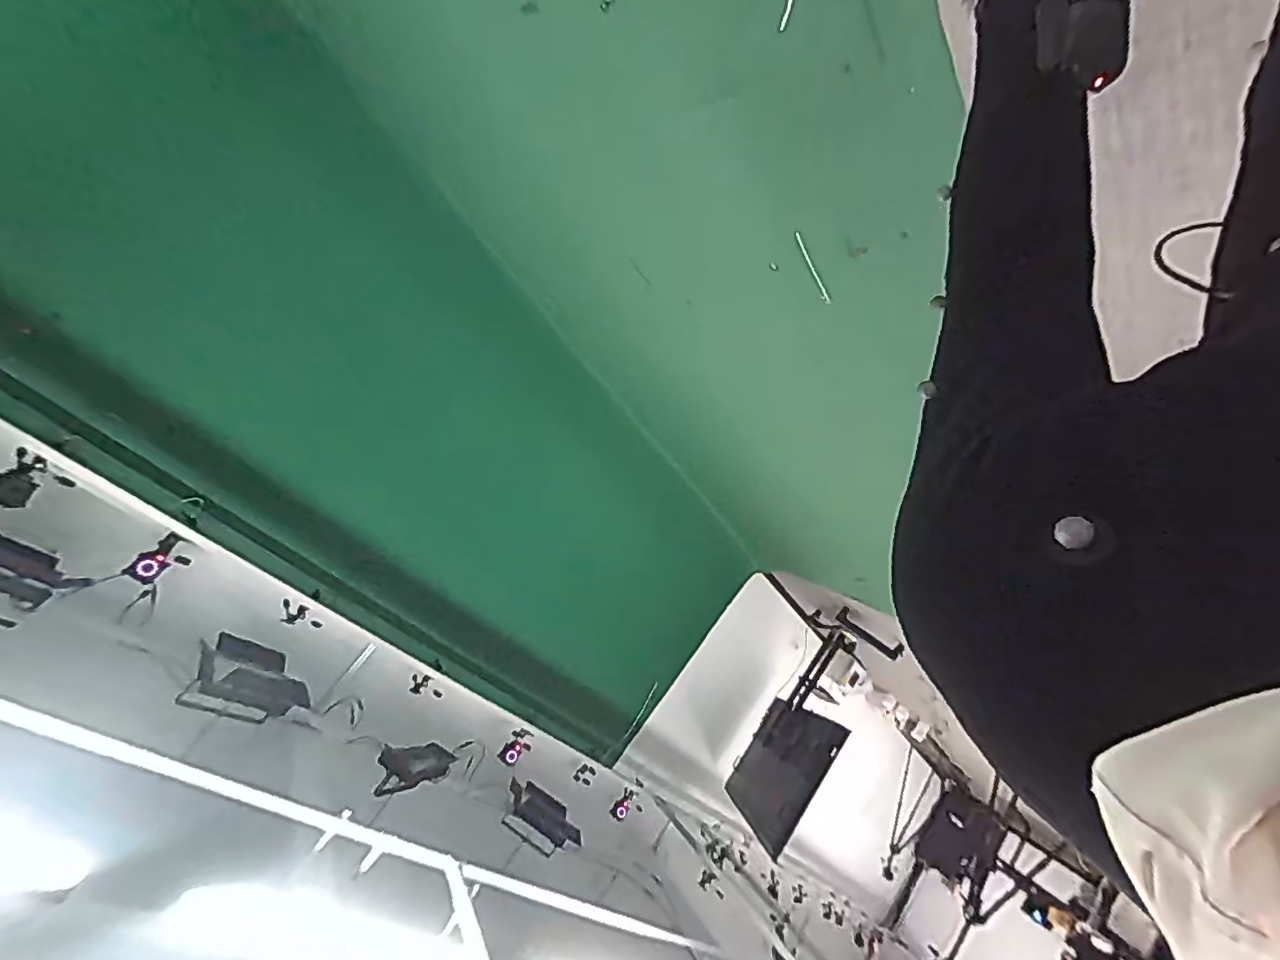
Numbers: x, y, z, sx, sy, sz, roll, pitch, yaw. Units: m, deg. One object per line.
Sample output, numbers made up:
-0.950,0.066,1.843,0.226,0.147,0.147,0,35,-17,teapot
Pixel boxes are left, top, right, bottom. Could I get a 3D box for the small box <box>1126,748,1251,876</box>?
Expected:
1.288,0.770,1.270,0.179,0.176,0.168,48,165,-30,small box
